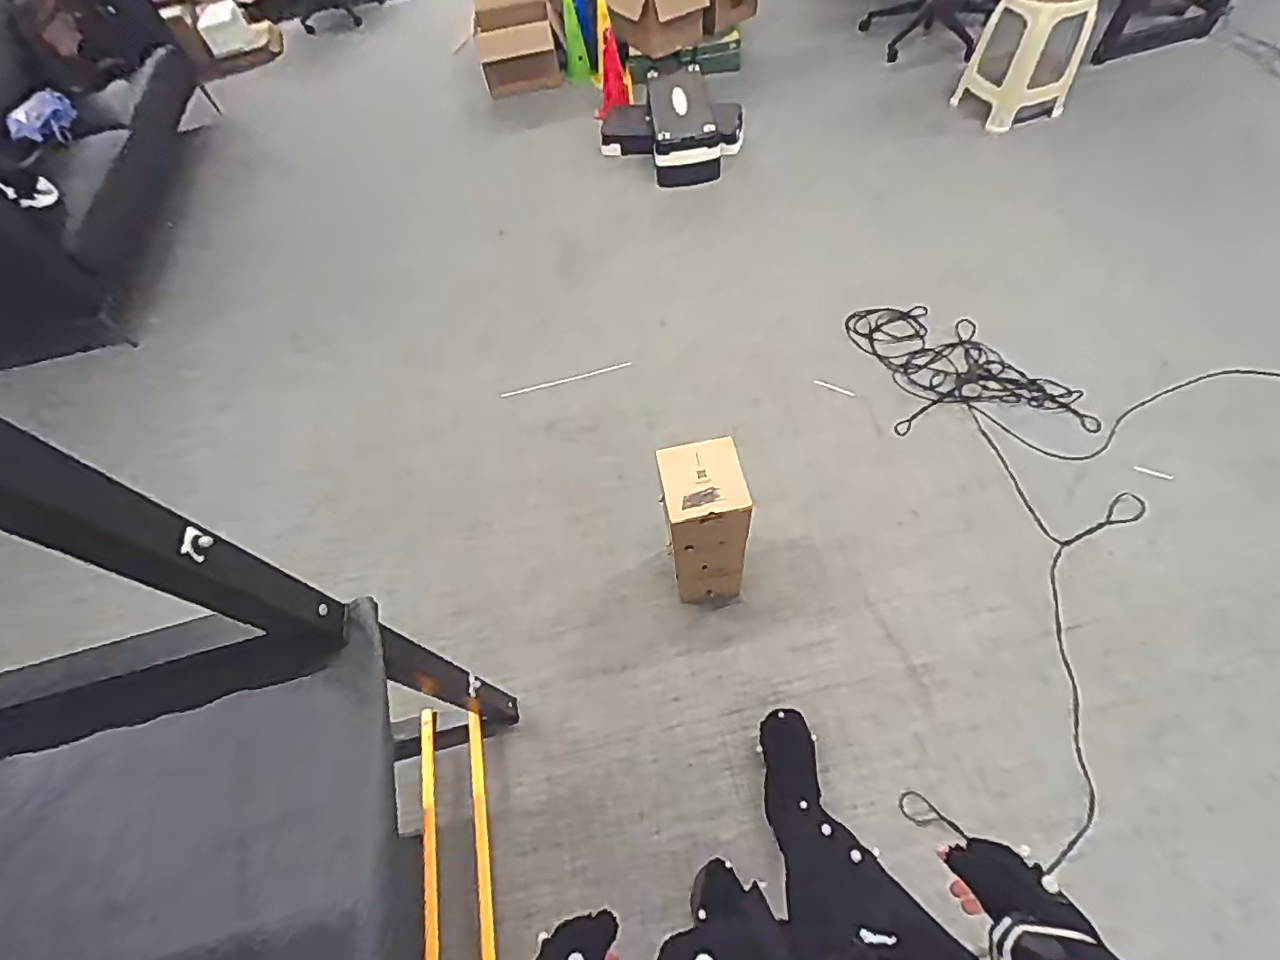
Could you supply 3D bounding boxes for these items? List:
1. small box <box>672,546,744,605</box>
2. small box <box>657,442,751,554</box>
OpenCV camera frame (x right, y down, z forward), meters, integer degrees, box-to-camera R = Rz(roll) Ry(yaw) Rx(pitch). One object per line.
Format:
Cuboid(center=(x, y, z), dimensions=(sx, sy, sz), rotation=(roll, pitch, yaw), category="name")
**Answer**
Cuboid(center=(0.175, 0.216, 1.446), dimensions=(0.168, 0.176, 0.179), rotation=(-9, 59, 3), category="small box")
Cuboid(center=(0.136, 0.048, 1.169), dimensions=(0.168, 0.176, 0.179), rotation=(-11, 58, 1), category="small box")
